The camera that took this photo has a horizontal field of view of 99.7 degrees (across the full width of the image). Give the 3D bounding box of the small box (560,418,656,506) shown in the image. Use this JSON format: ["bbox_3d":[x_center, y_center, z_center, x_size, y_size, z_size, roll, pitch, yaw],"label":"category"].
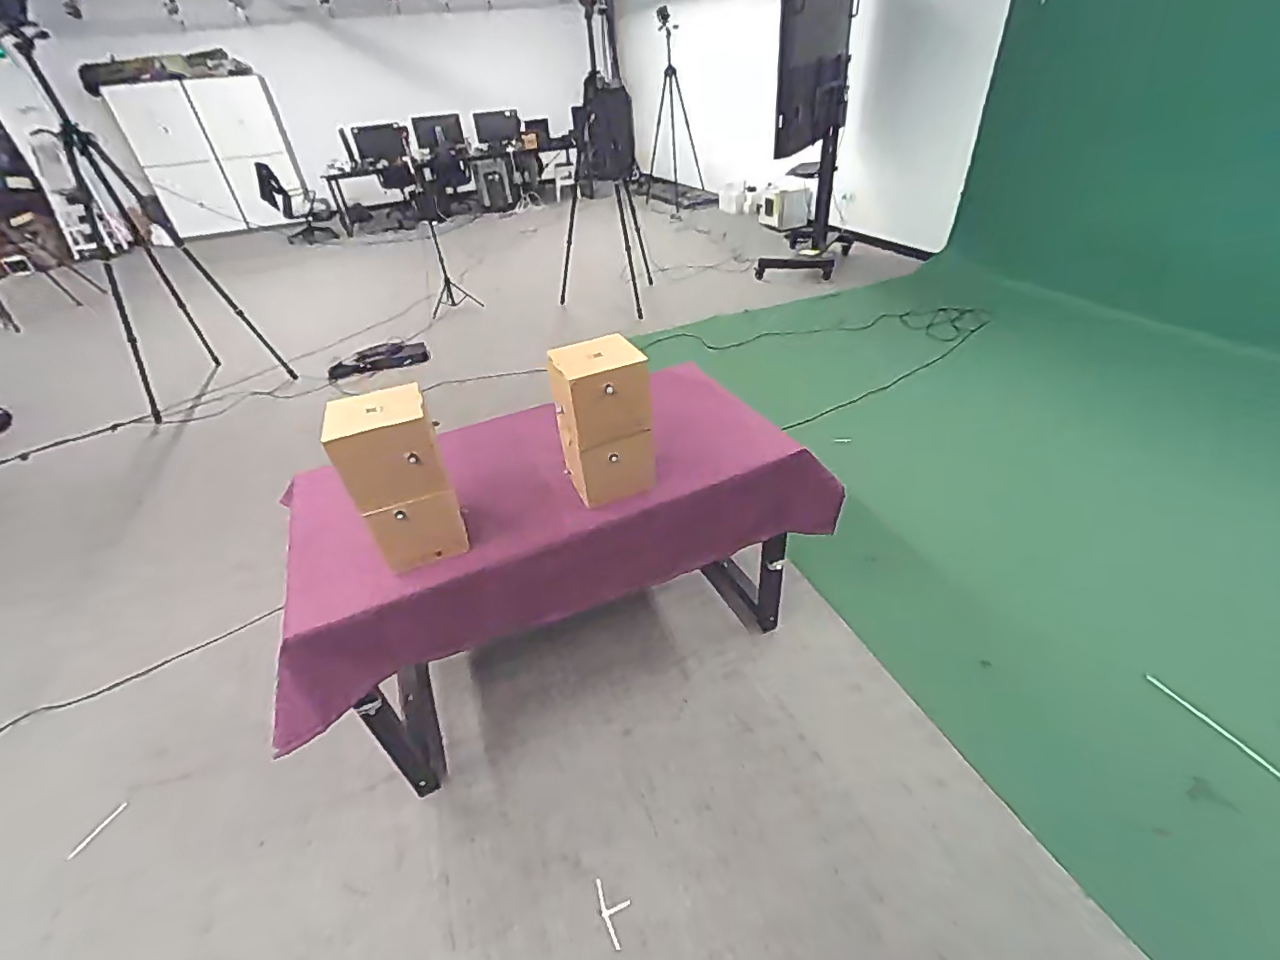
[{"bbox_3d":[-0.072,-0.062,1.276,0.179,0.176,0.168,-18,39,-16],"label":"small box"}]

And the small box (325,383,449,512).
[{"bbox_3d":[-0.485,-0.064,1.062,0.179,0.176,0.168,-17,38,-14],"label":"small box"}]

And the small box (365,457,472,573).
[{"bbox_3d":[-0.472,0.067,1.160,0.168,0.176,0.179,-18,38,-15],"label":"small box"}]

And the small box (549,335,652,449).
[{"bbox_3d":[-0.082,-0.192,1.178,0.179,0.176,0.168,-19,40,-16],"label":"small box"}]
